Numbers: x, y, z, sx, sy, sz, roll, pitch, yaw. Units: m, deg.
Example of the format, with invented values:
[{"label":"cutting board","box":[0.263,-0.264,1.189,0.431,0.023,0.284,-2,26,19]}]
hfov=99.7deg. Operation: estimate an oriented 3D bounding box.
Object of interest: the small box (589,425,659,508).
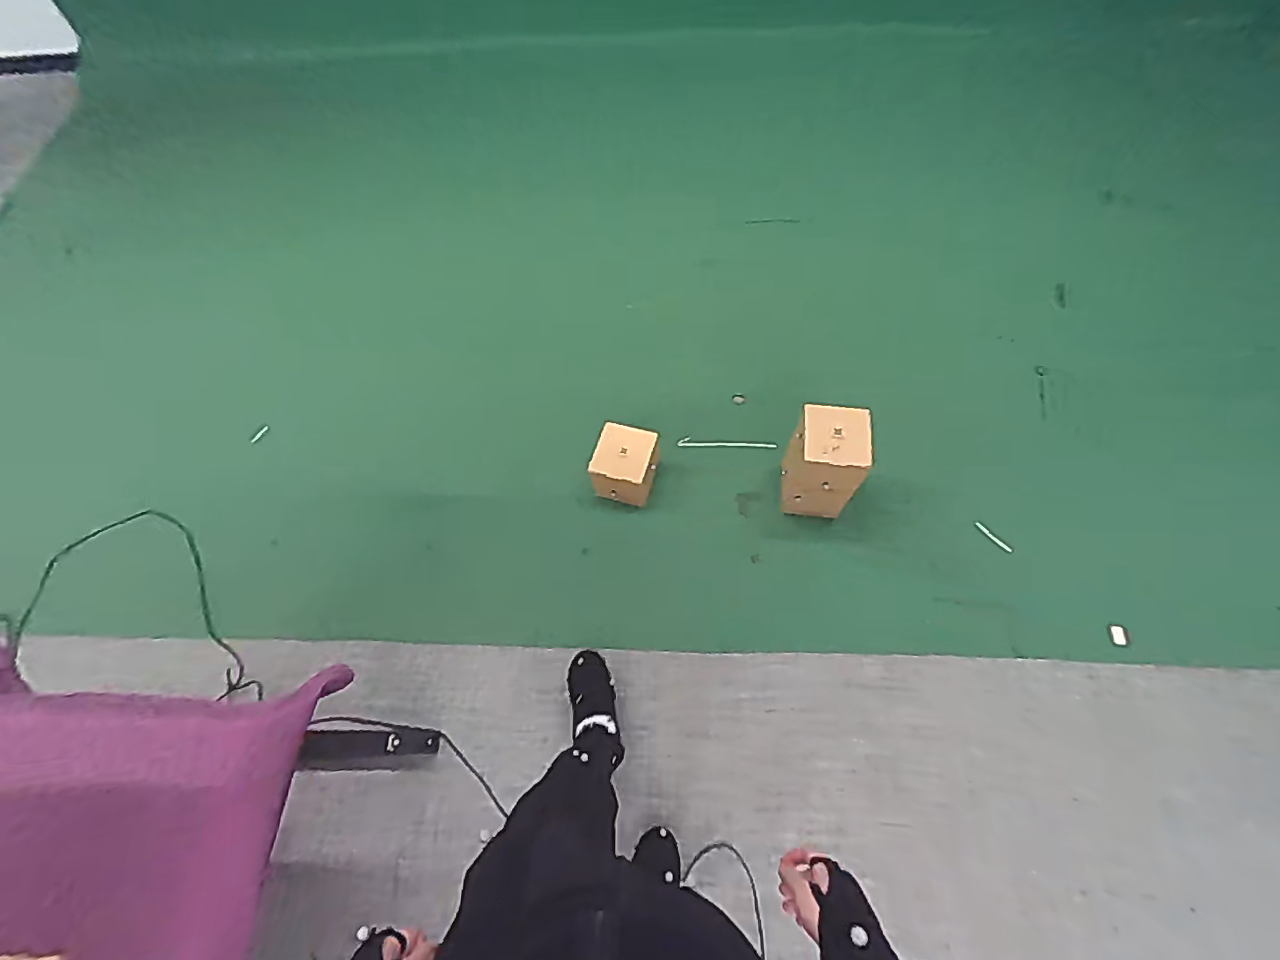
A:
[{"label":"small box","box":[-0.043,-0.038,1.653,0.168,0.176,0.179,14,67,10]}]

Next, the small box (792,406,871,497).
[{"label":"small box","box":[0.507,-0.074,1.449,0.168,0.176,0.179,6,64,7]}]
